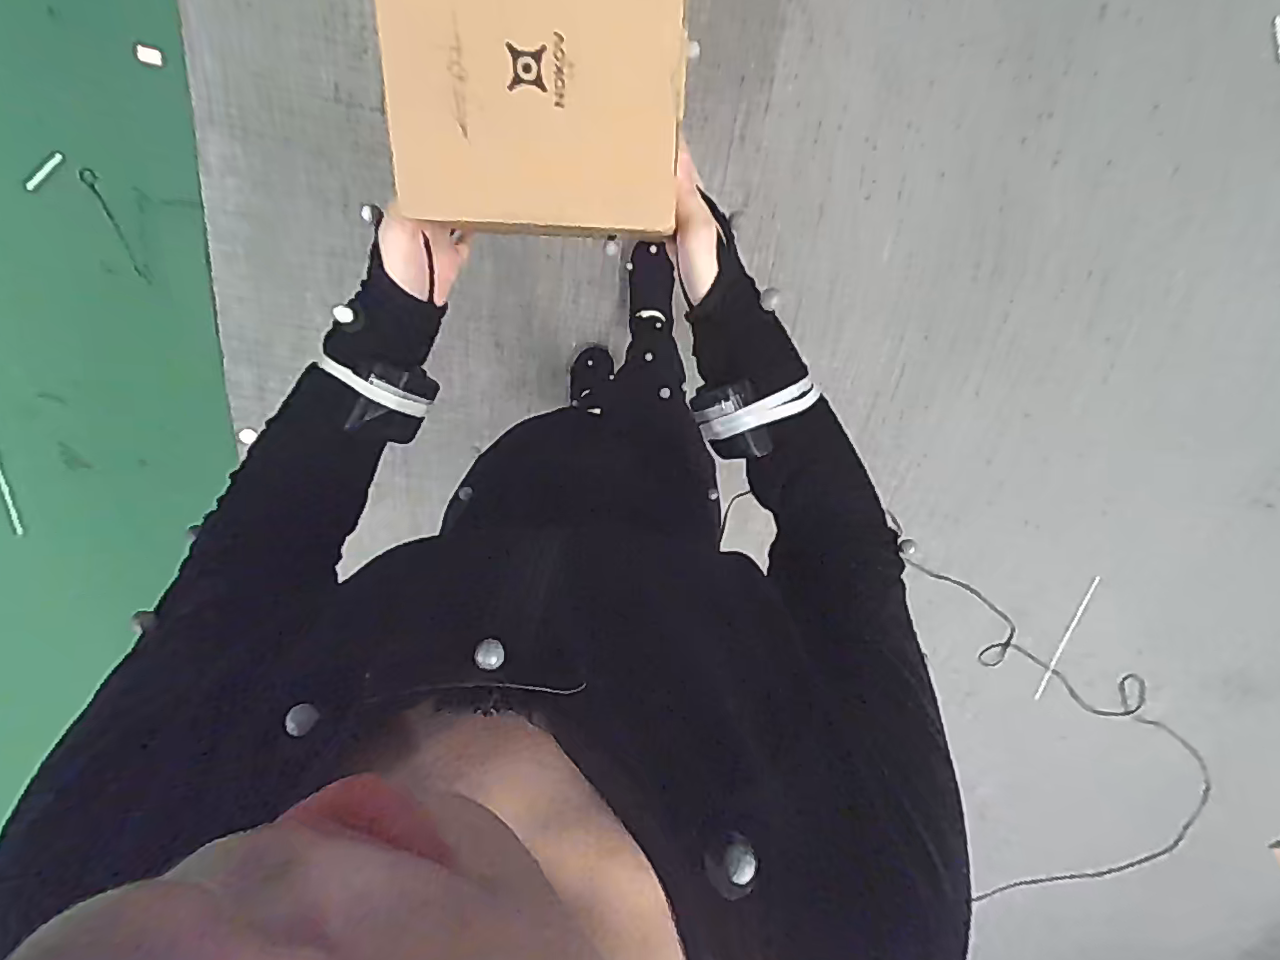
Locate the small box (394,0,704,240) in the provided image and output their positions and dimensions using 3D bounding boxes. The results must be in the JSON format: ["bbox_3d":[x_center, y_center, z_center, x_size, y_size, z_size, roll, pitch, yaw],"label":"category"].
[{"bbox_3d":[-0.055,-0.270,0.389,0.179,0.176,0.168,2,110,-2],"label":"small box"}]
